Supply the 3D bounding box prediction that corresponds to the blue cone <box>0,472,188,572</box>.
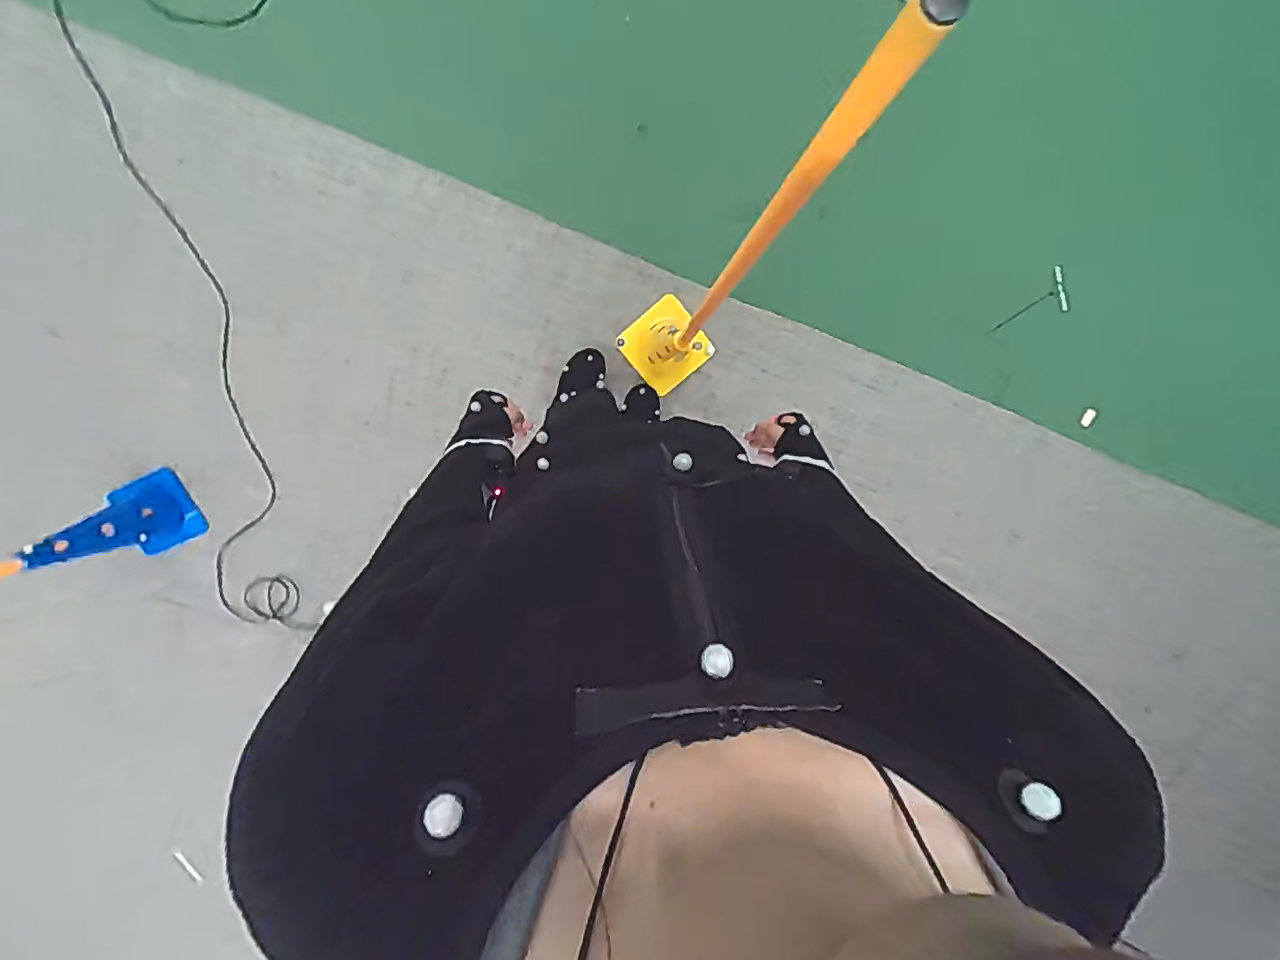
[{"bbox_3d":[-1.301,0.134,1.259,0.193,0.380,0.192,-24,103,4],"label":"blue cone"}]
